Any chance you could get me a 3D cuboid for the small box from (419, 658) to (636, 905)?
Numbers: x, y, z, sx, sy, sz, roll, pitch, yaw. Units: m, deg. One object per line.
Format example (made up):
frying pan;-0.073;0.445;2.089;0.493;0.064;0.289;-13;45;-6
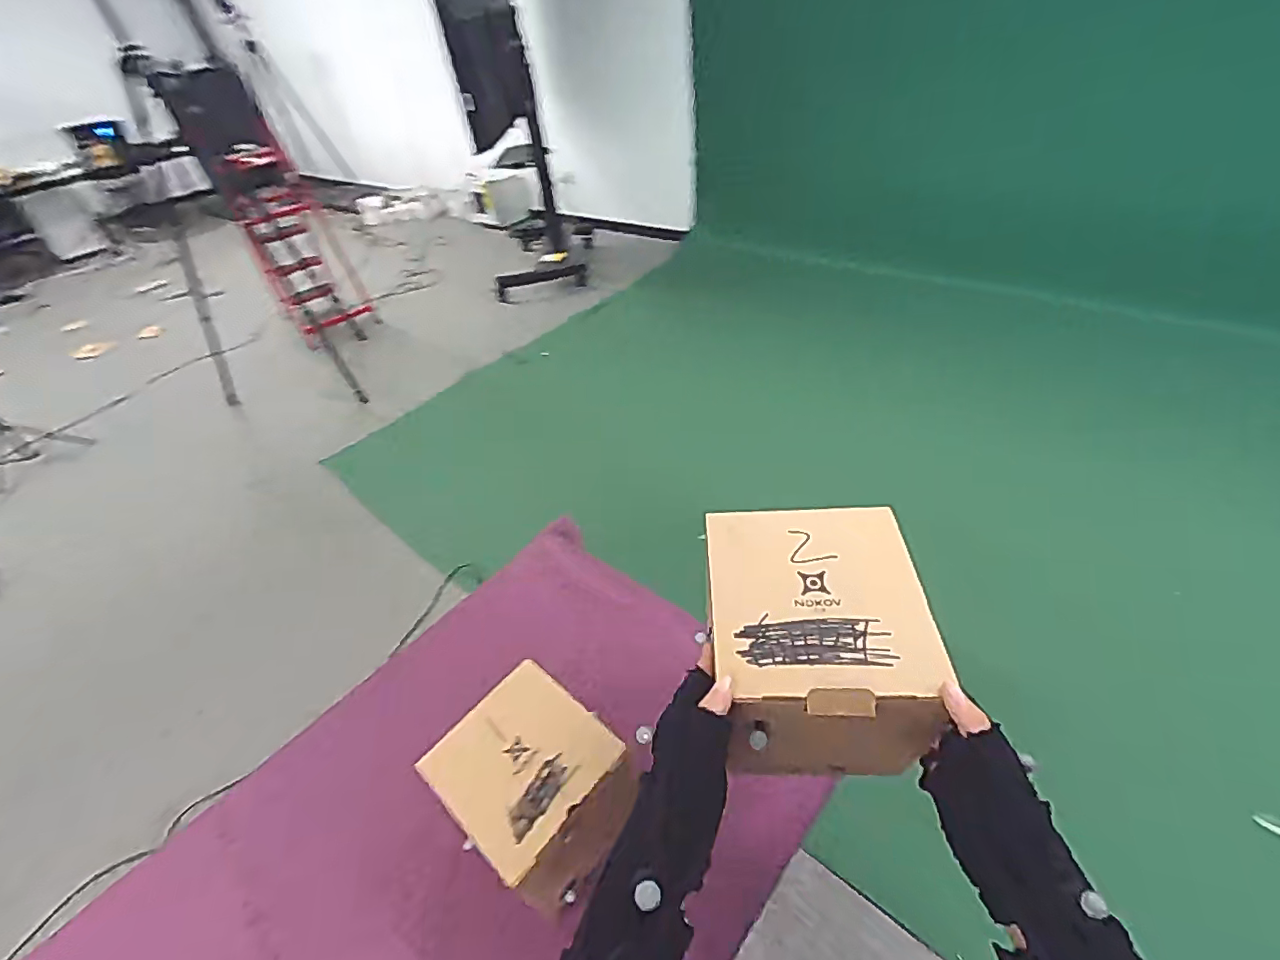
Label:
small box;-0.121;0.357;0.641;0.179;0.176;0.168;30;54;34
